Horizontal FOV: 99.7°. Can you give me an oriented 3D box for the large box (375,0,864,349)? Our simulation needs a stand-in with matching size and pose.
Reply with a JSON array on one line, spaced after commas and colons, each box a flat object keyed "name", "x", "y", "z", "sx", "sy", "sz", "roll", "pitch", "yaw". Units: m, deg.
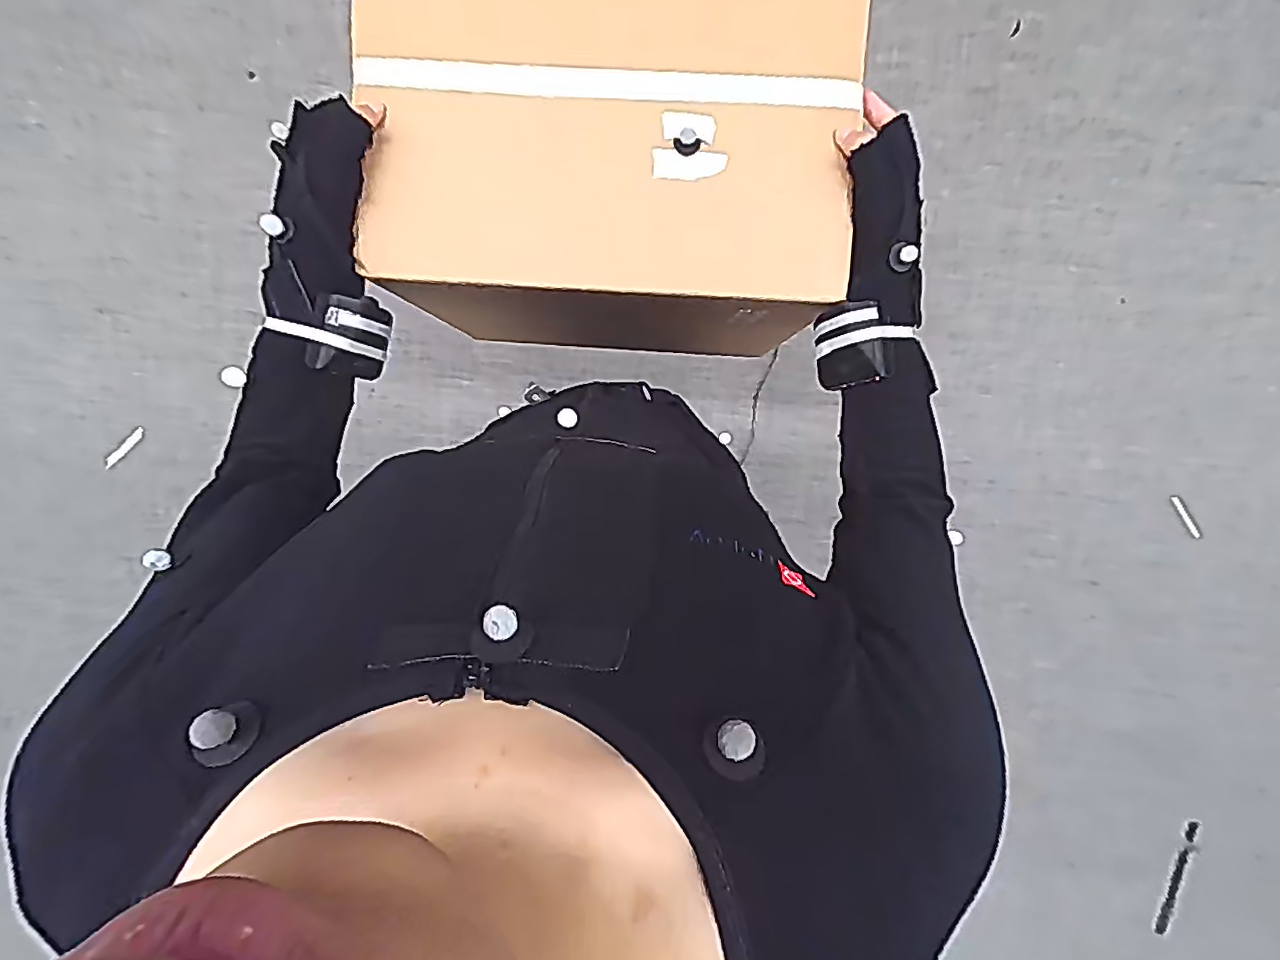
[{"name": "large box", "x": -0.020, "y": -0.330, "z": 0.593, "sx": 0.408, "sy": 0.320, "sz": 0.320, "roll": 3, "pitch": 95, "yaw": 0}]
